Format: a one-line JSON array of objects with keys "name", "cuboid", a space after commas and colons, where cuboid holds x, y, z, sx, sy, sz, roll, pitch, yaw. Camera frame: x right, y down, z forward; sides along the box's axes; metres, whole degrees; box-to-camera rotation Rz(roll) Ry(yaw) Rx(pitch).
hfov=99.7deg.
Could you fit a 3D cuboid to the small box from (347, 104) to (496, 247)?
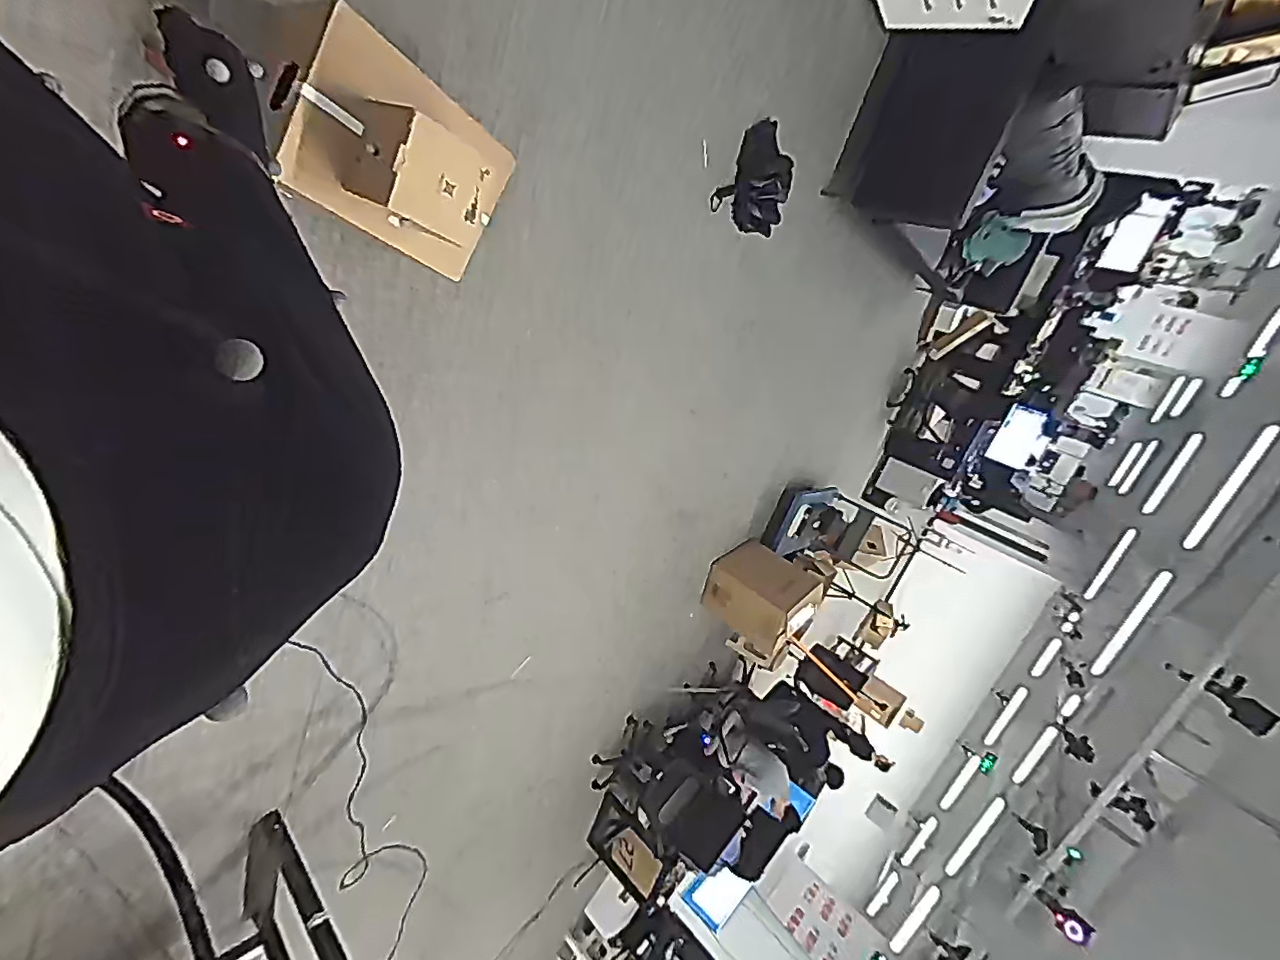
[{"name": "small box", "cuboid": [-0.409, -0.563, 1.005, 0.179, 0.176, 0.168, 8, 111, -55]}]
